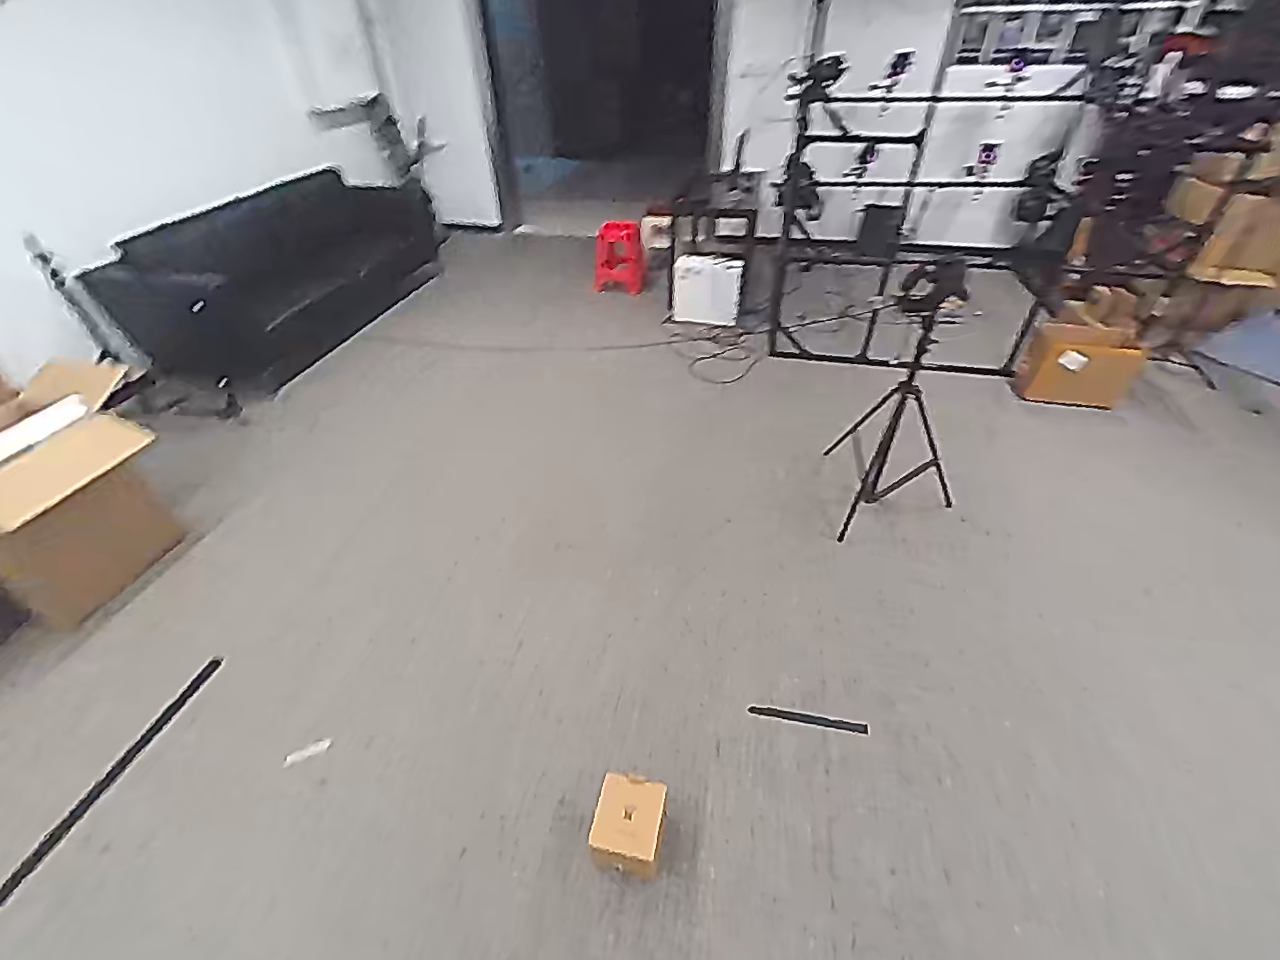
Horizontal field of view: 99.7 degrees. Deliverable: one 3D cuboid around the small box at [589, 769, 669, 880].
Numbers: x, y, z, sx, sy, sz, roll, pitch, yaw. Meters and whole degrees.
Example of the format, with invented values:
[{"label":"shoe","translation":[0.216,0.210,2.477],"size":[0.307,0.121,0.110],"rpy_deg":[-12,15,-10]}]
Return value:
[{"label":"small box","translation":[-0.023,0.885,1.389],"size":[0.168,0.176,0.179],"rpy_deg":[7,41,12]}]
